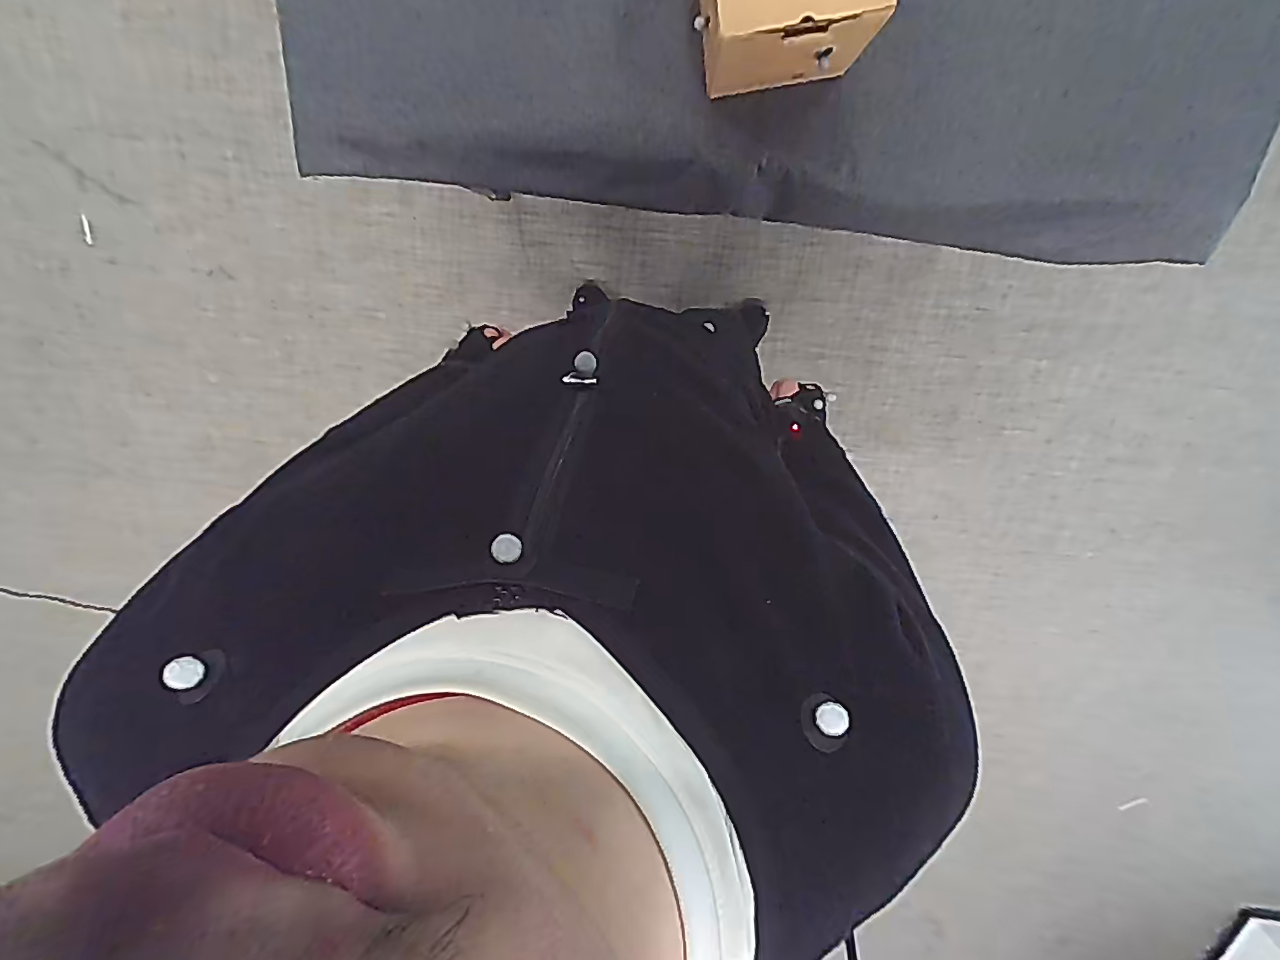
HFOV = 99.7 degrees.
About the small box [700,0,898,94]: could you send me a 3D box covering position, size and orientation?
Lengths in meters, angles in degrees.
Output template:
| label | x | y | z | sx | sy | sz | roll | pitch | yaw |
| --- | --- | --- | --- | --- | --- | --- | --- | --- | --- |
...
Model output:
| label | x | y | z | sx | sy | sz | roll | pitch | yaw |
| --- | --- | --- | --- | --- | --- | --- | --- | --- | --- |
| small box | 0.152 | -0.531 | 0.560 | 0.168 | 0.176 | 0.179 | -7 | 108 | 4 |
